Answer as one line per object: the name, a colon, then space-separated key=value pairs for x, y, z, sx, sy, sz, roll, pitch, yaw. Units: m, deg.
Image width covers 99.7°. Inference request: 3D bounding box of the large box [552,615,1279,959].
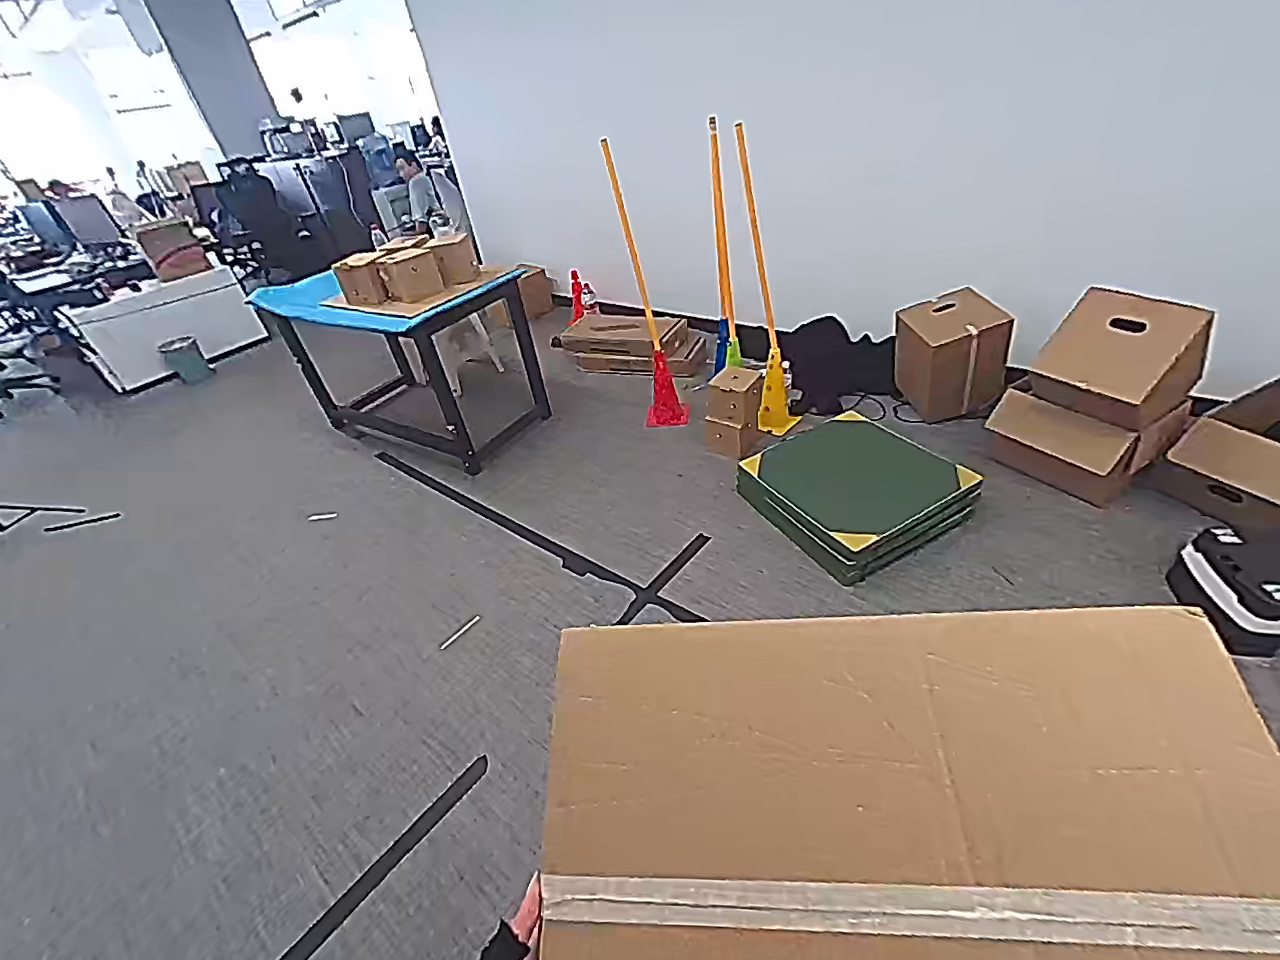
large box: x=0.170 y=0.309 z=0.420 sx=0.408 sy=0.320 sz=0.320 roll=-5 pitch=60 yaw=10
